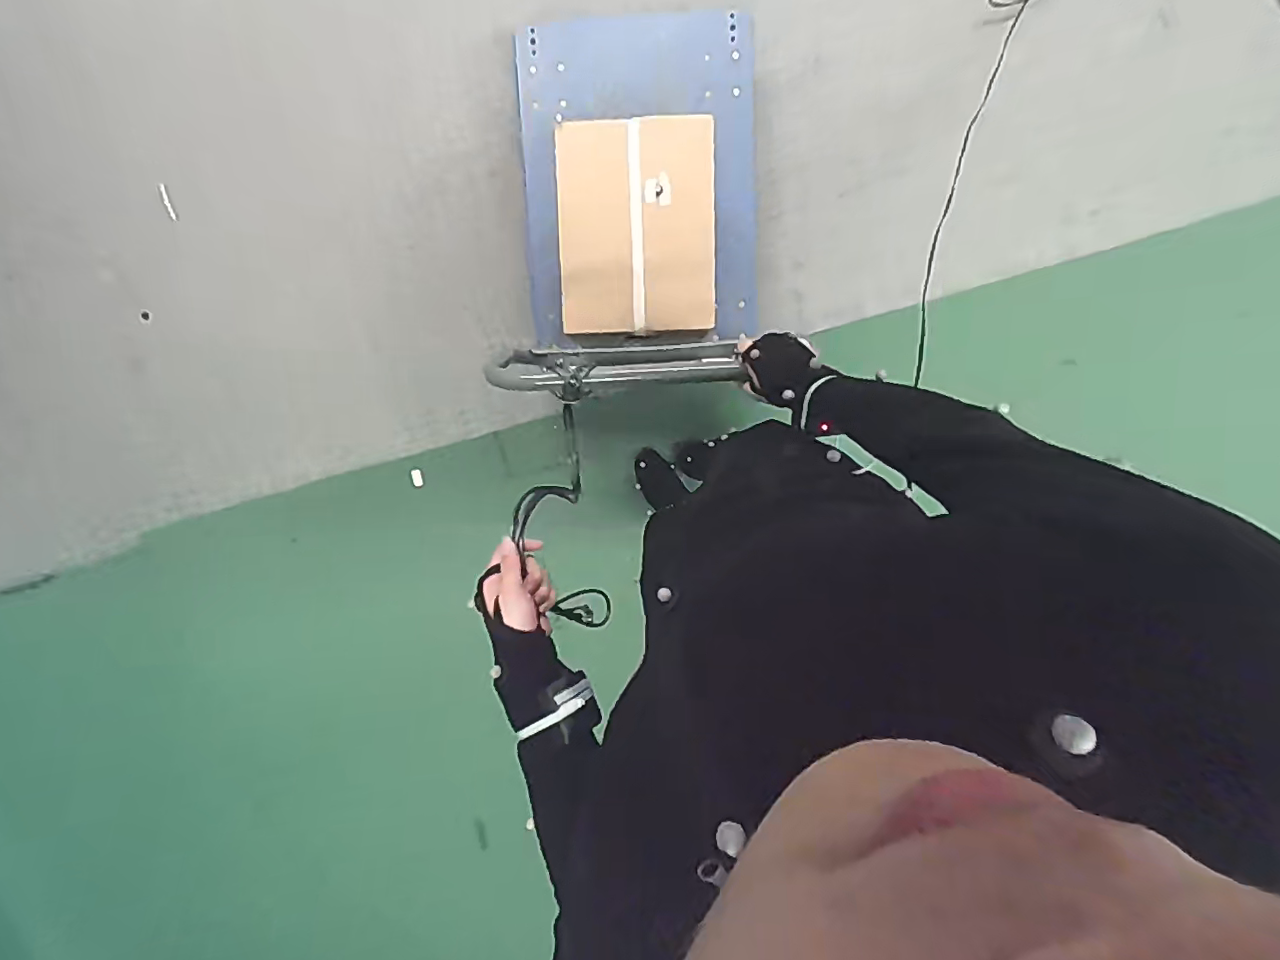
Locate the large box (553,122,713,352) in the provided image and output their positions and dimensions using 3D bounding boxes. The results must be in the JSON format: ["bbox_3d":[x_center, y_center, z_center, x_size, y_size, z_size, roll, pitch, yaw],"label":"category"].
[{"bbox_3d":[-0.009,-0.519,1.237,0.320,0.320,0.408,-2,97,1],"label":"large box"}]
